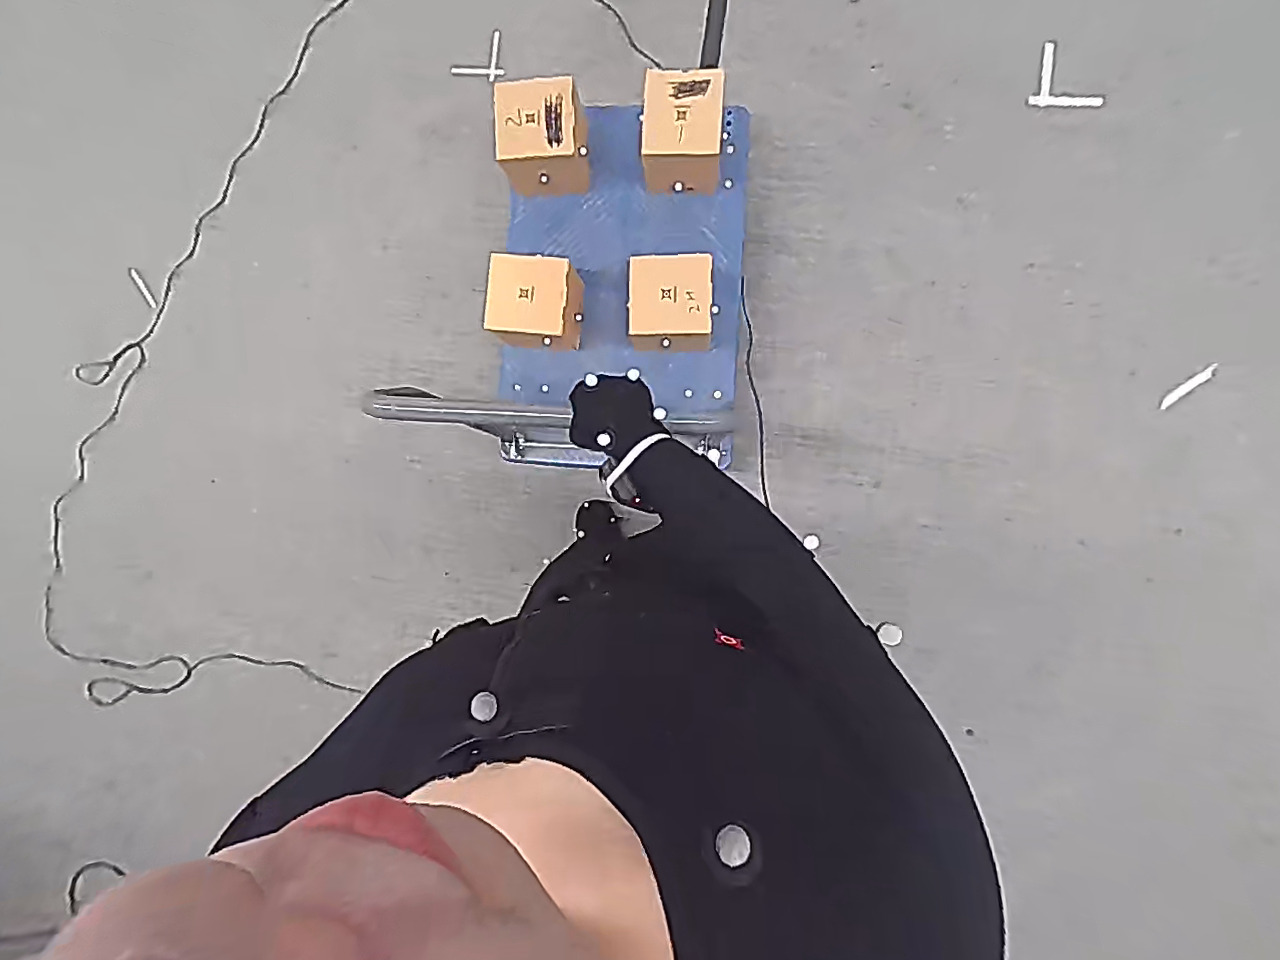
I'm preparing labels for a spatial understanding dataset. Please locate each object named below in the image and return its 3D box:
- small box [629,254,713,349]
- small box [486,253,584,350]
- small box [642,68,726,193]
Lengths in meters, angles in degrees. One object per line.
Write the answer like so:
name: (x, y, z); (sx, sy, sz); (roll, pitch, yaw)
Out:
small box: (0.073, -0.391, 1.211); (0.179, 0.176, 0.168); (1, 92, 6)
small box: (-0.235, -0.402, 1.241); (0.179, 0.176, 0.168); (5, 91, 4)
small box: (0.098, -0.767, 1.199); (0.168, 0.176, 0.179); (3, 93, 6)
